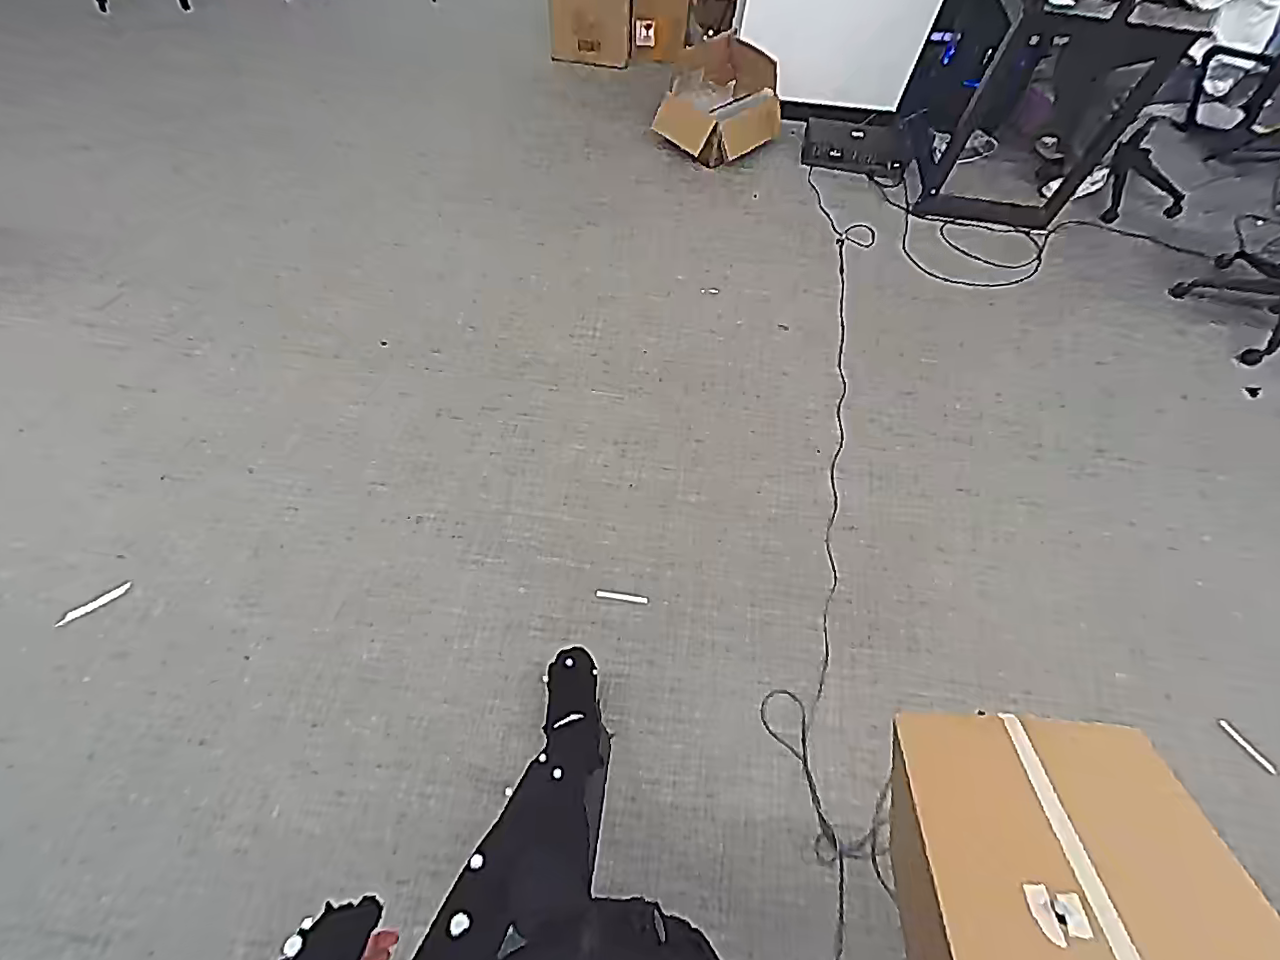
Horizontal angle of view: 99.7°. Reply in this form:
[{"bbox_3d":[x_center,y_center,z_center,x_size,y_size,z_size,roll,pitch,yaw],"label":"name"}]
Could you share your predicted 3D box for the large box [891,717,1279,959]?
[{"bbox_3d":[0.519,0.573,0.670,0.320,0.320,0.408,-2,23,16],"label":"large box"}]
